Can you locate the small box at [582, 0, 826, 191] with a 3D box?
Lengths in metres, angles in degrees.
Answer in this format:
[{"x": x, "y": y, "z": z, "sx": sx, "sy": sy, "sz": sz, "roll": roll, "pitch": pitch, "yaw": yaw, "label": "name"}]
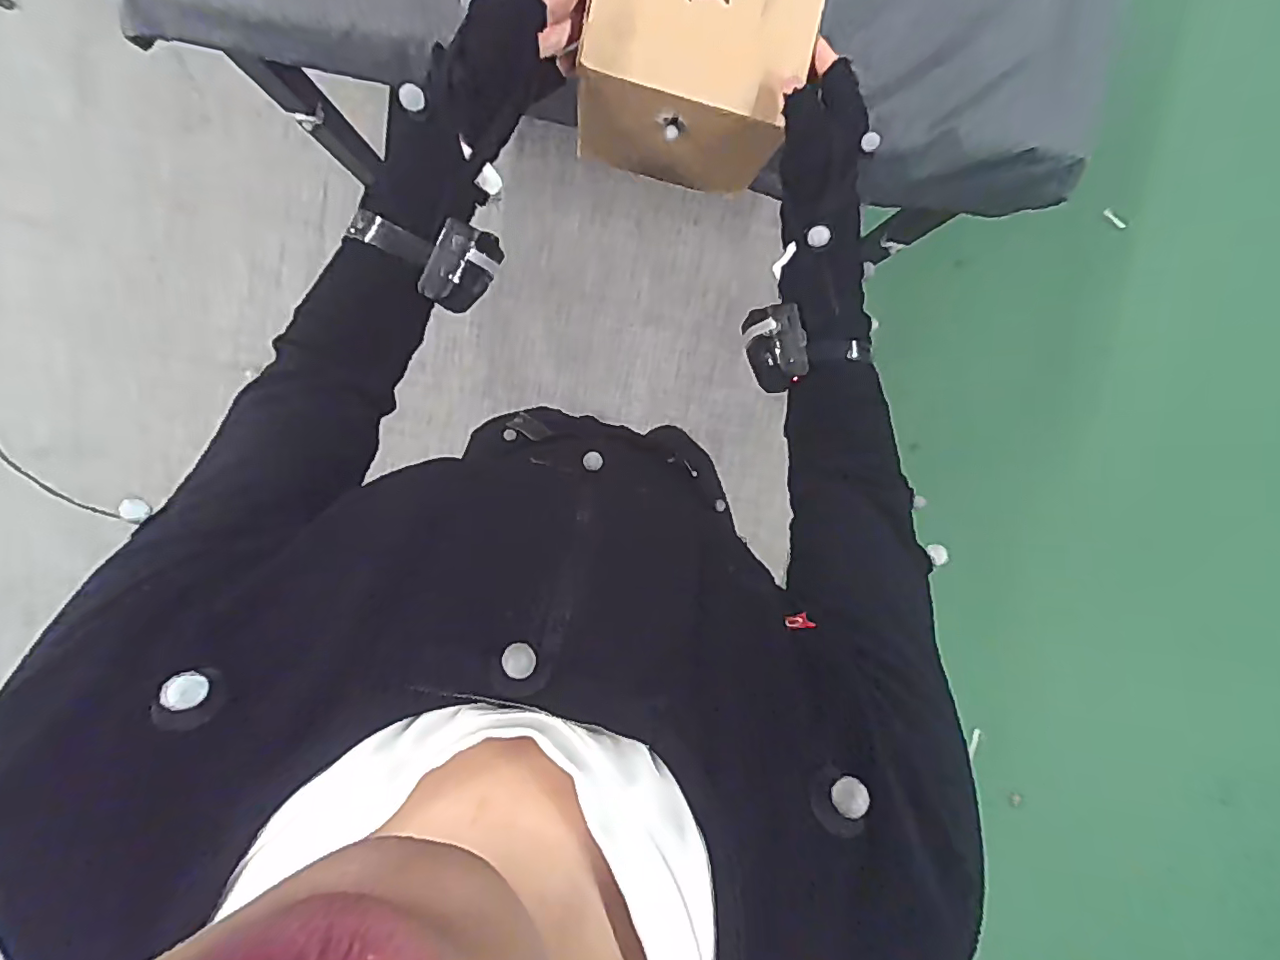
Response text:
[{"x": 0.047, "y": -0.386, "z": 0.484, "sx": 0.179, "sy": 0.176, "sz": 0.168, "roll": 11, "pitch": 99, "yaw": -9, "label": "small box"}]
